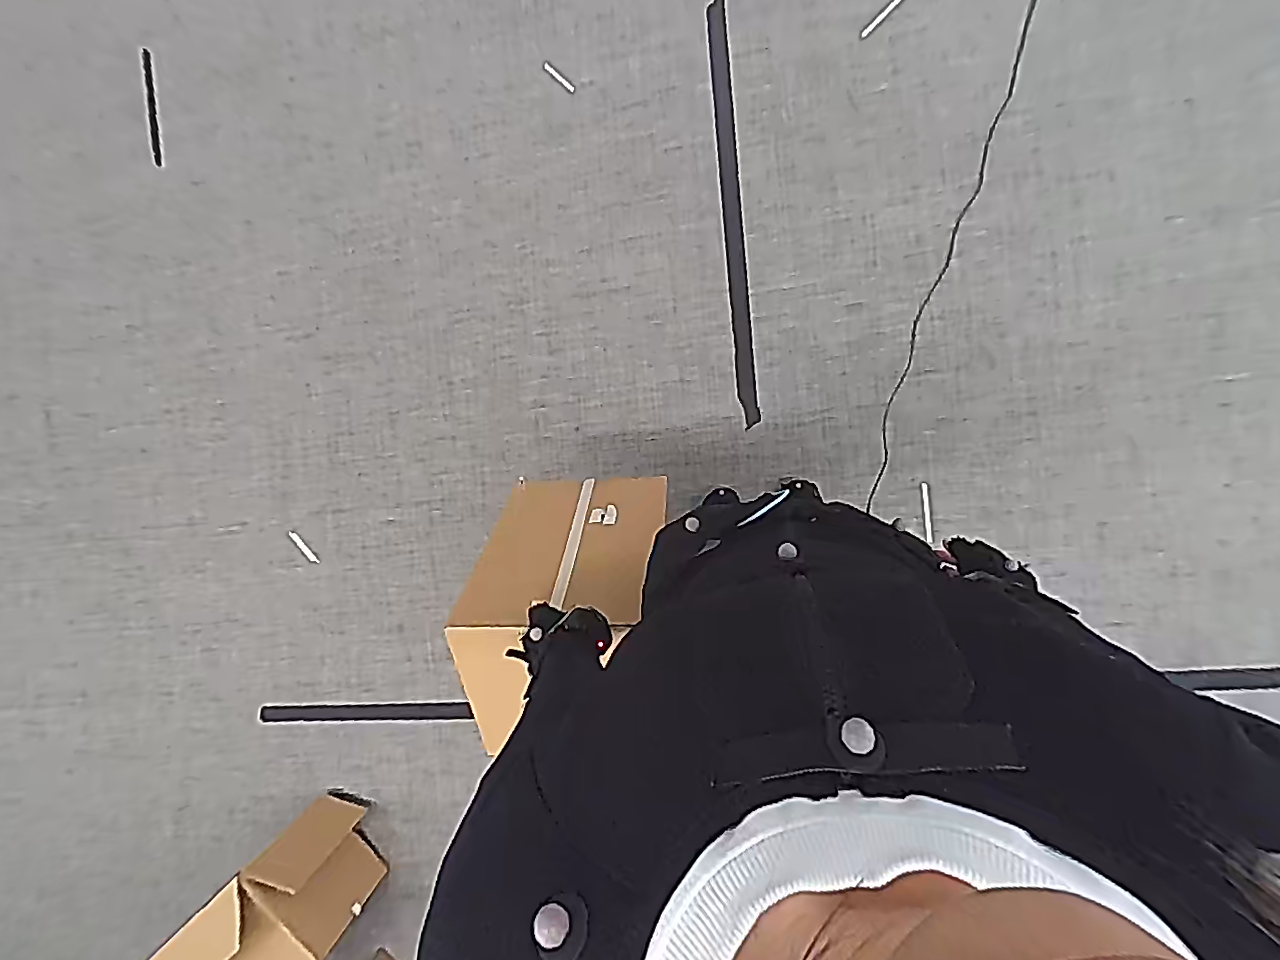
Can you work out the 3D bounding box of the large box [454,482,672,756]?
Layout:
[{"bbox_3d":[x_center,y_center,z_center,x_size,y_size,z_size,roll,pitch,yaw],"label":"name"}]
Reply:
[{"bbox_3d":[-0.101,0.239,1.008,0.320,0.408,0.320,-1,120,4],"label":"large box"}]
